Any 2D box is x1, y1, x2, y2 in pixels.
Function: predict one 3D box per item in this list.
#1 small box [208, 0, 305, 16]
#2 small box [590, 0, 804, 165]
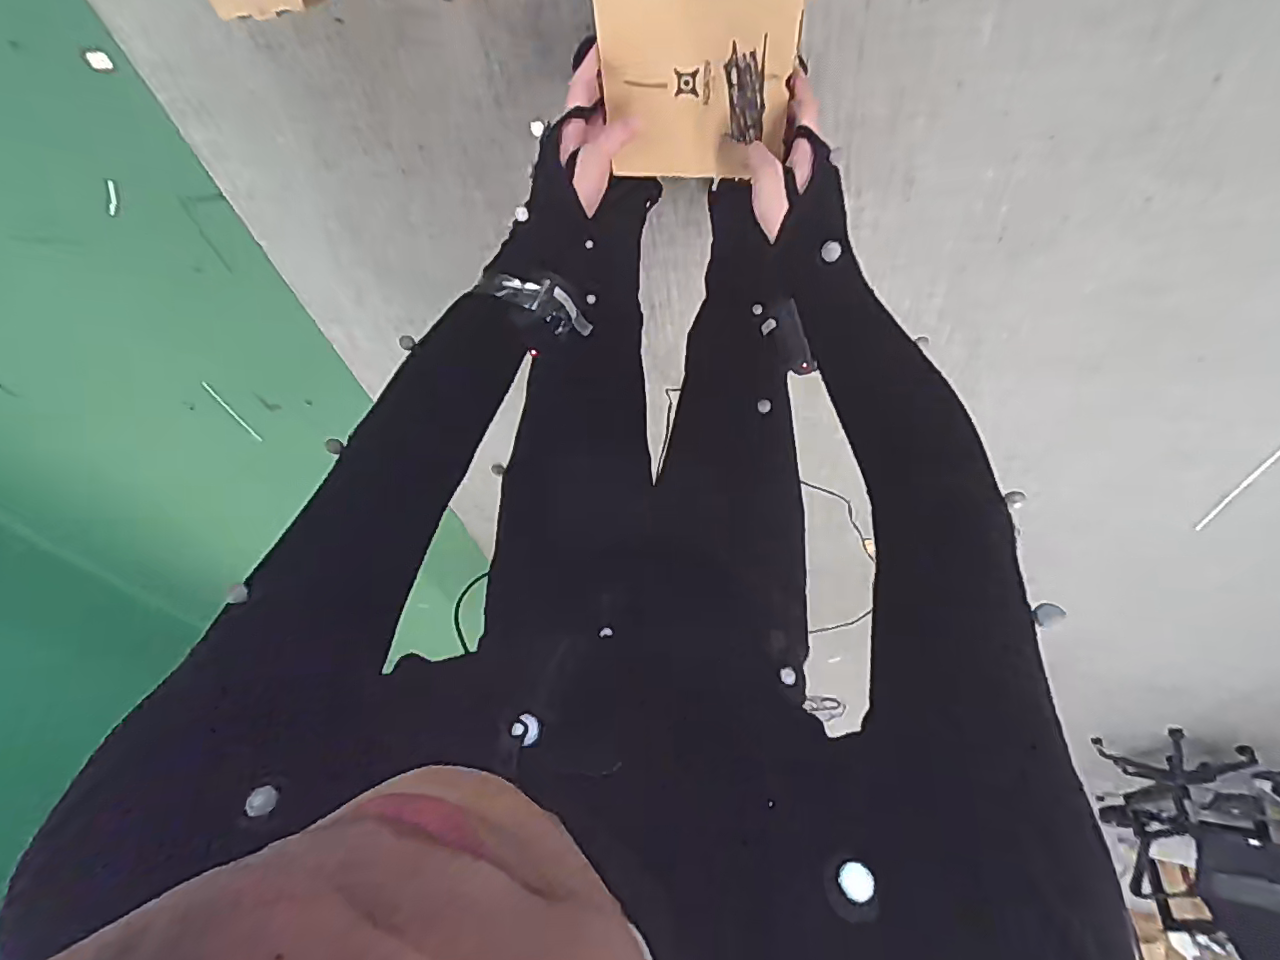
[{"bbox_3d":[-0.585,-0.844,0.819,0.168,0.176,0.179,4,142,12],"label":"small box"},{"bbox_3d":[0.060,-0.431,0.518,0.179,0.176,0.168,7,148,10],"label":"small box"}]
